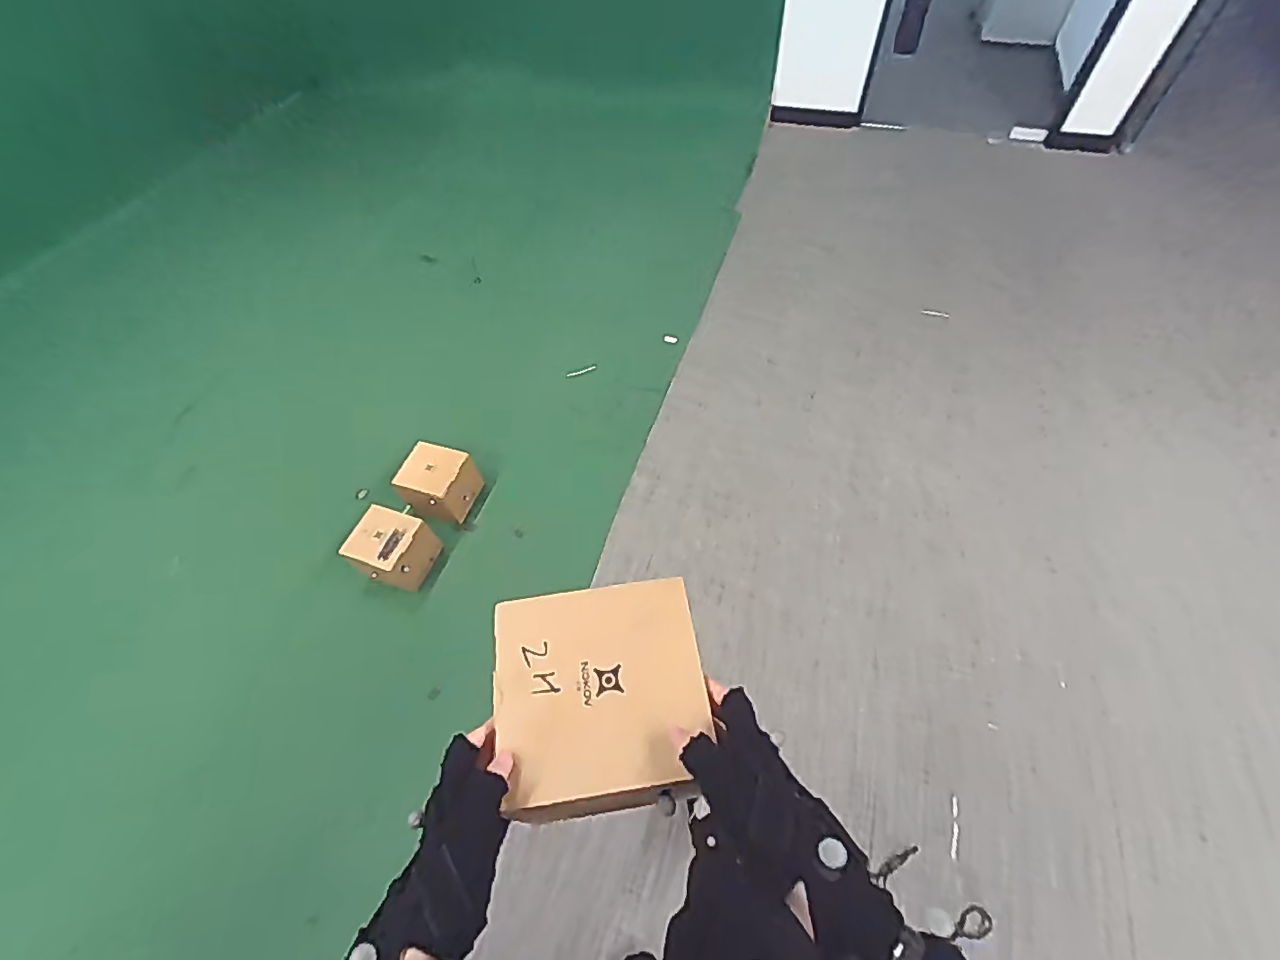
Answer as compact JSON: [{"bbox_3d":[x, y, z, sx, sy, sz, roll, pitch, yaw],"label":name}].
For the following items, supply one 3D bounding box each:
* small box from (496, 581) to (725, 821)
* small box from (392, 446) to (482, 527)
[{"bbox_3d":[-0.030,0.214,0.514,0.179,0.176,0.168,-7,55,-4],"label":"small box"},{"bbox_3d":[-0.622,0.024,1.680,0.179,0.176,0.168,15,58,11],"label":"small box"}]
